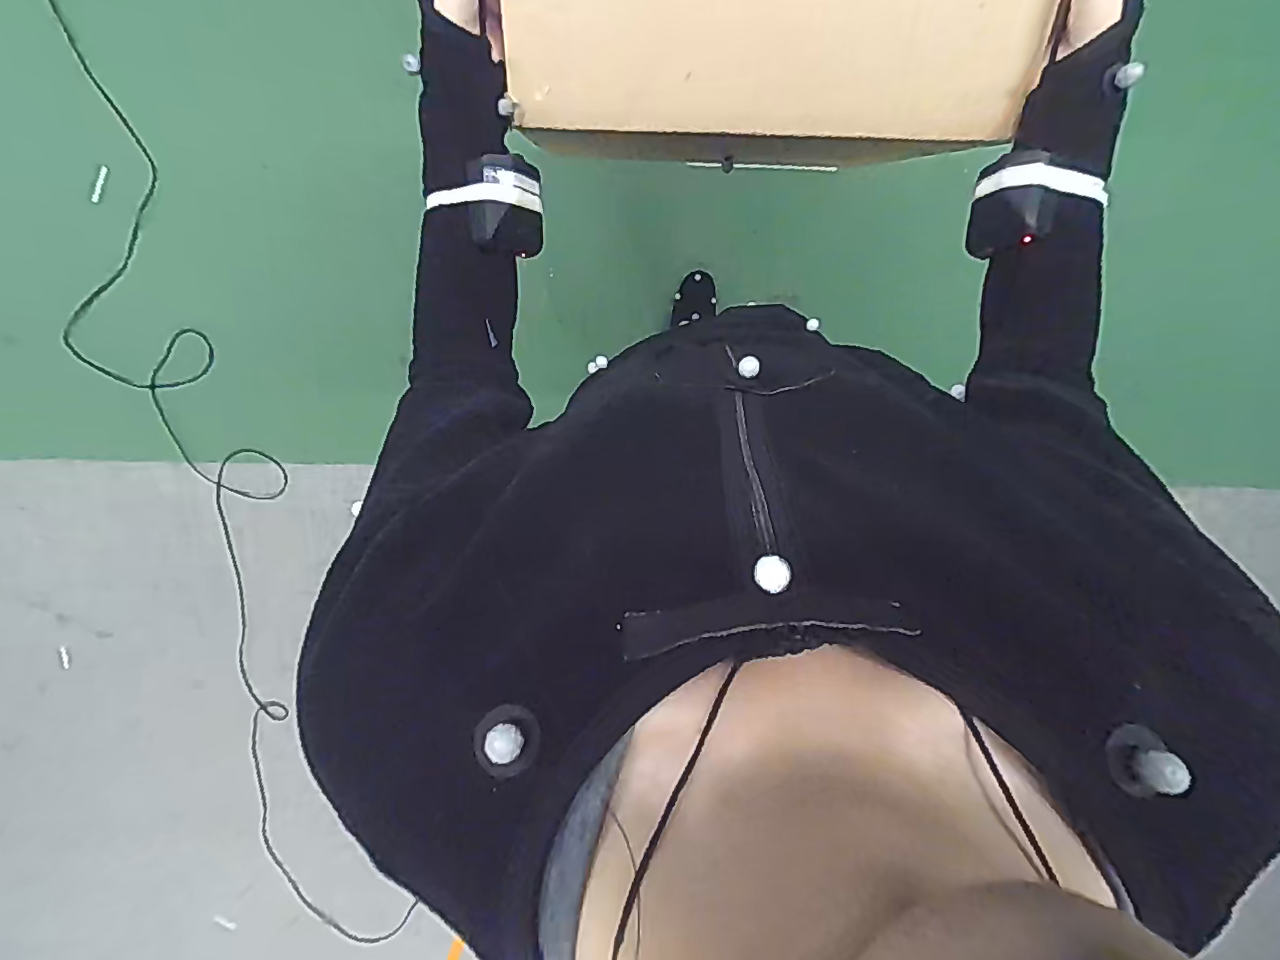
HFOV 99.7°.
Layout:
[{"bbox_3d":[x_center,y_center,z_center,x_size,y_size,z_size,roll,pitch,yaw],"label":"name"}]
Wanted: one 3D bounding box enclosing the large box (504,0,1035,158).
[{"bbox_3d":[0.096,-0.485,0.500,0.408,0.320,0.320,0,116,-2],"label":"large box"}]
